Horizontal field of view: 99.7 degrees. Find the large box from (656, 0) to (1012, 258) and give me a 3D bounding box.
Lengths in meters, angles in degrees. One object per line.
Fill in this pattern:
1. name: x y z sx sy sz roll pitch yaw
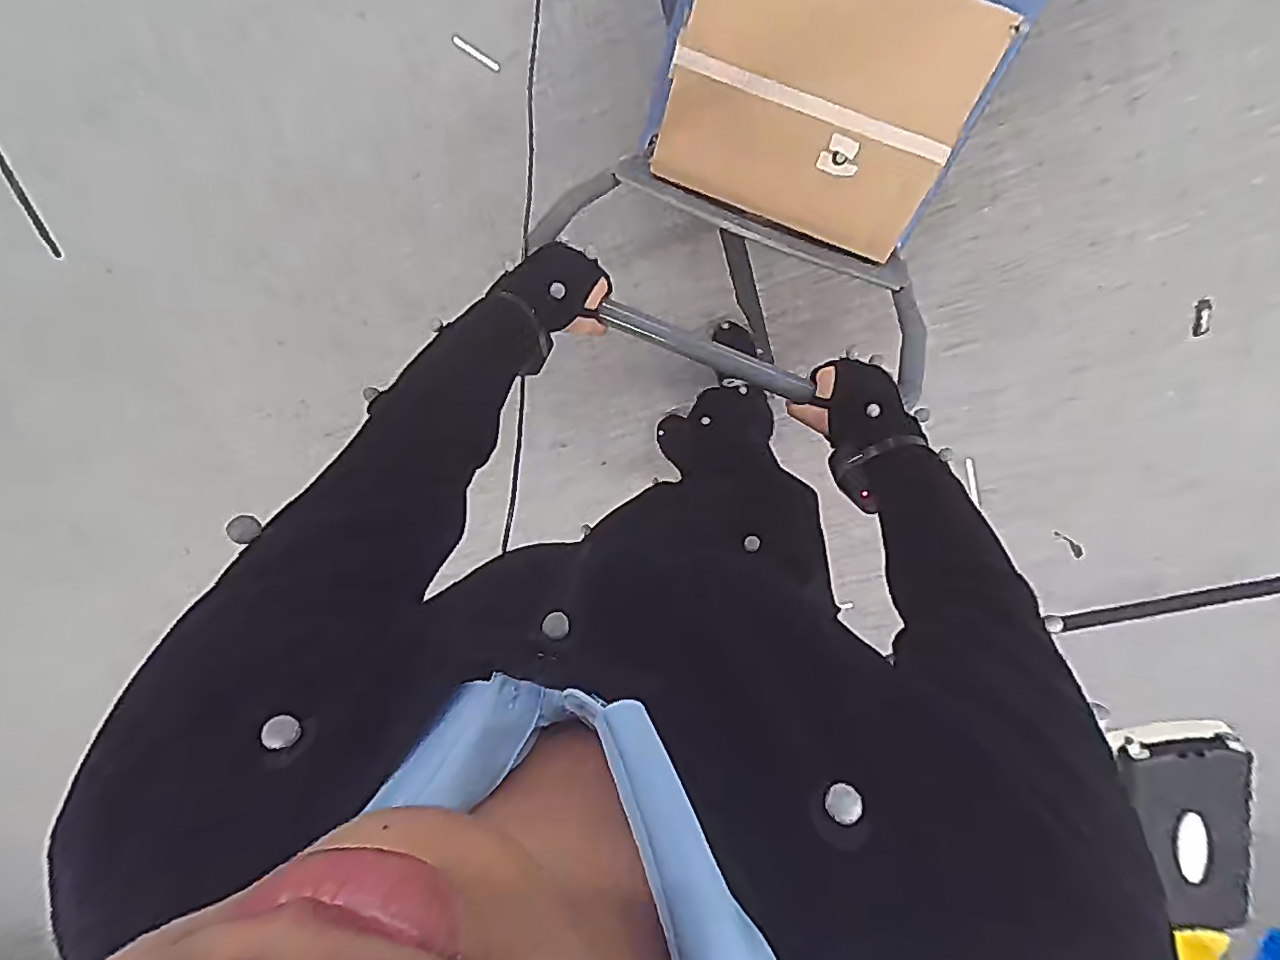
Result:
1. large box: 0.282 -0.619 0.898 0.408 0.320 0.320 22 128 1
